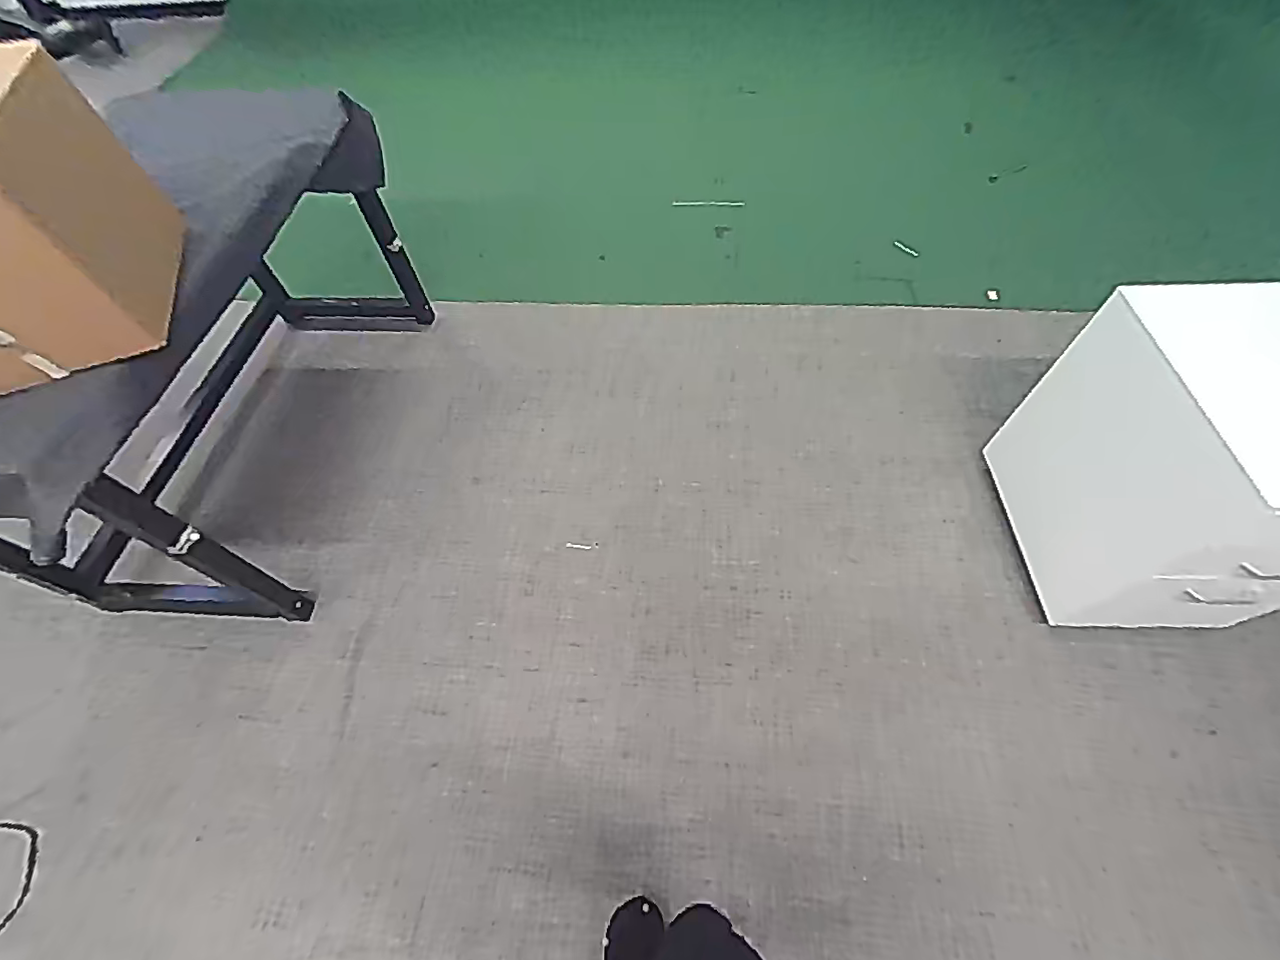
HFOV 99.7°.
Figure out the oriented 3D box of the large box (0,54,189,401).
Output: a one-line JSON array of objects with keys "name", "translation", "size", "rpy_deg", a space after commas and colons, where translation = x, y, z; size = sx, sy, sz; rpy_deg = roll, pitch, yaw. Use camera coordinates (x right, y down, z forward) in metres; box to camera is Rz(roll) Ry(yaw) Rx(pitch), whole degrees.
[{"name": "large box", "translation": [-0.998, -0.395, 0.857], "size": [0.320, 0.320, 0.408], "rpy_deg": [-20, 56, -9]}]
